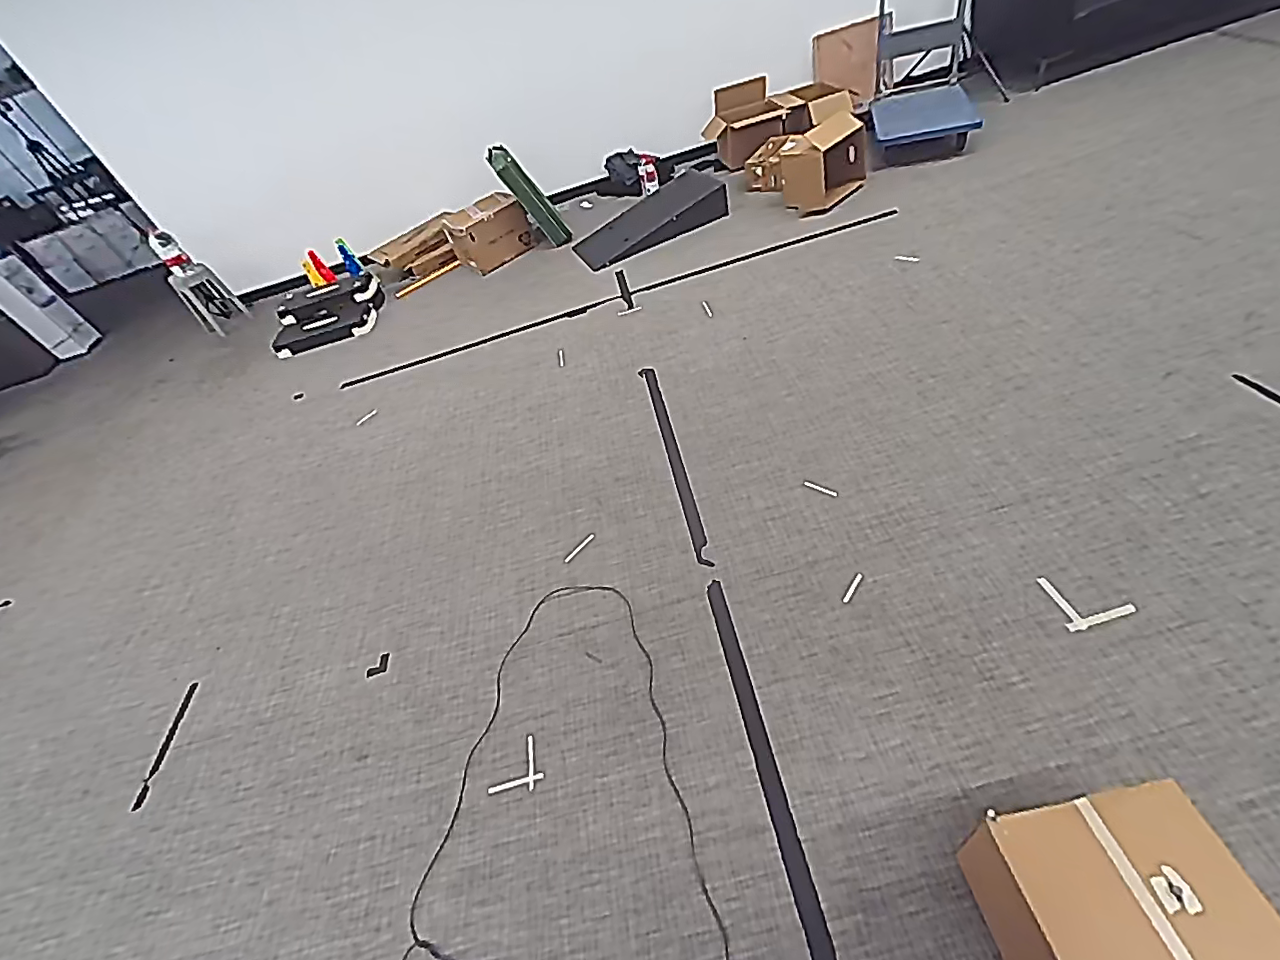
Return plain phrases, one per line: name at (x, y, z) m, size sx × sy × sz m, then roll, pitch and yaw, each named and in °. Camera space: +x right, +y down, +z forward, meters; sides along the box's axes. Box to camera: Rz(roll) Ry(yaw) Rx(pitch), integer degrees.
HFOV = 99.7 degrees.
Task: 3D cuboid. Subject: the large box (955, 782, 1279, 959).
large box at (0.796, 0.787, 0.883) m, size 0.320 × 0.320 × 0.408 m, roll -14°, pitch 43°, yaw 3°
